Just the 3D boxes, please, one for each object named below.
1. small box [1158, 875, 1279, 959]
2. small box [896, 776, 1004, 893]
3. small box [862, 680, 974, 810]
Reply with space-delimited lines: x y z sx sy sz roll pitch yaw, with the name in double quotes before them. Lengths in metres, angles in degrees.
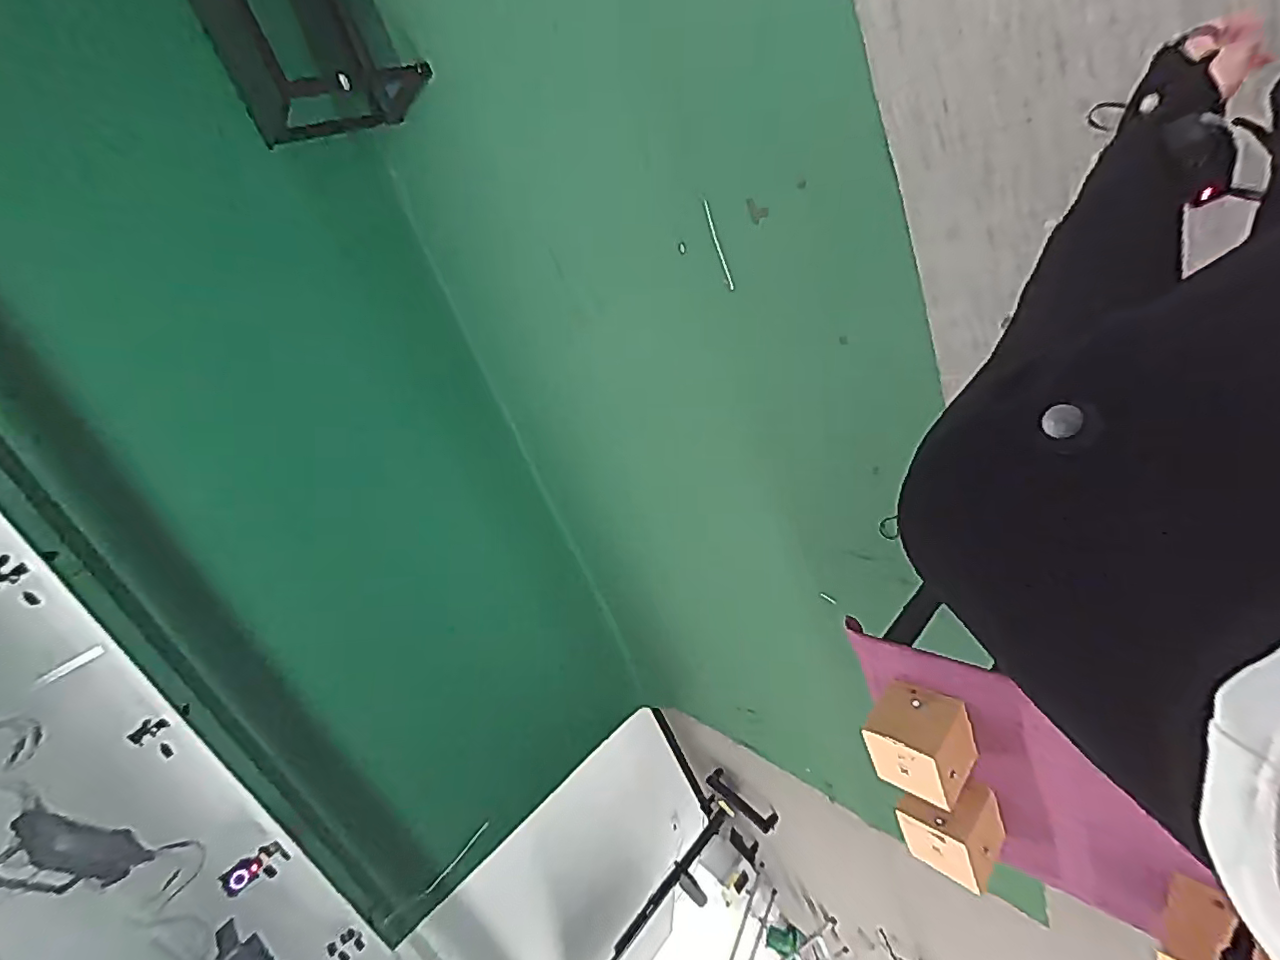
"small box" 1.054 0.869 0.960 0.168 0.176 0.179 3 121 53
"small box" 0.769 0.846 1.335 0.168 0.176 0.179 1 120 53
"small box" 0.652 0.607 1.259 0.168 0.176 0.179 3 123 52
